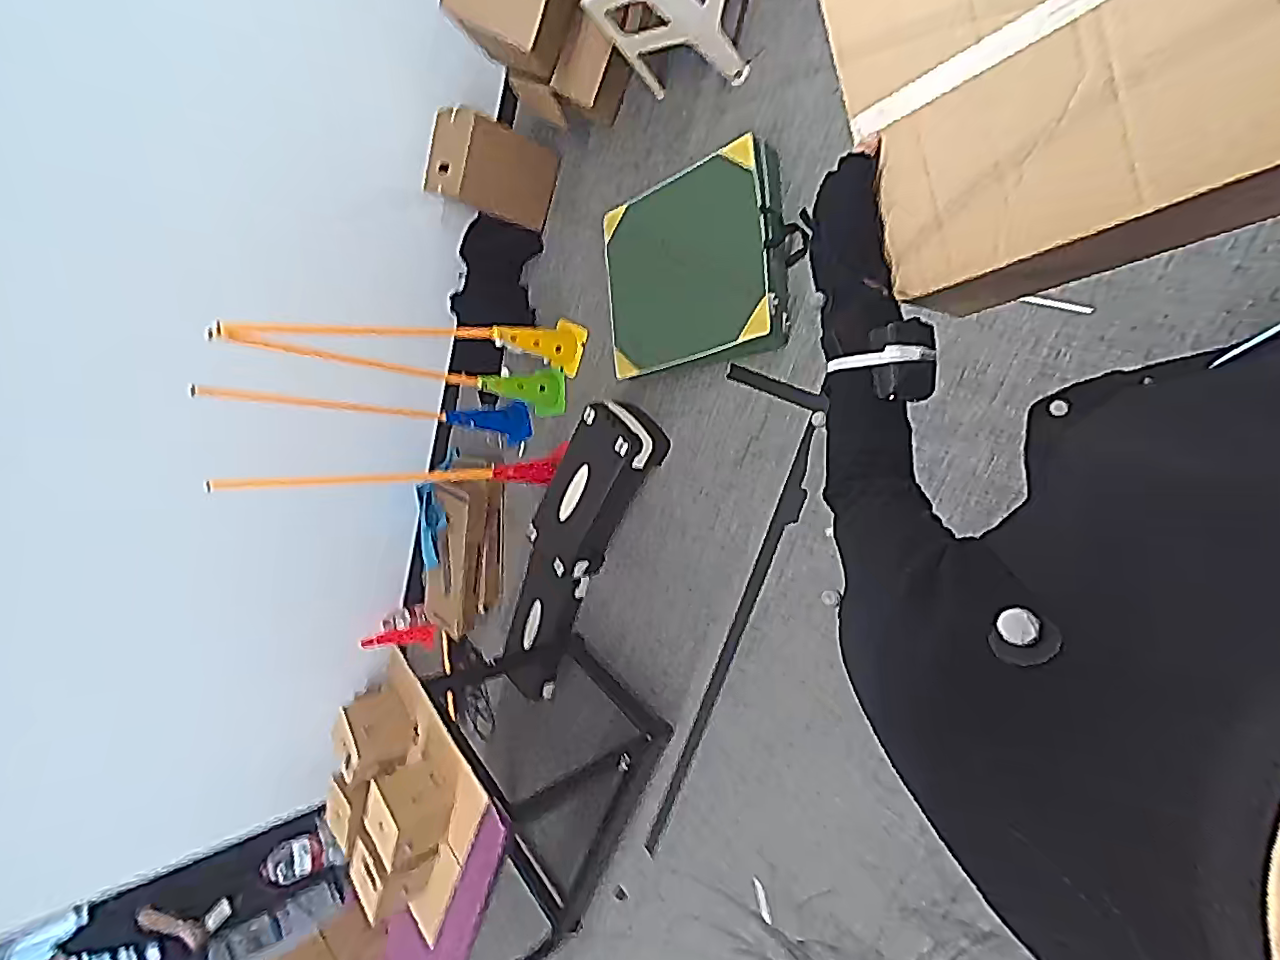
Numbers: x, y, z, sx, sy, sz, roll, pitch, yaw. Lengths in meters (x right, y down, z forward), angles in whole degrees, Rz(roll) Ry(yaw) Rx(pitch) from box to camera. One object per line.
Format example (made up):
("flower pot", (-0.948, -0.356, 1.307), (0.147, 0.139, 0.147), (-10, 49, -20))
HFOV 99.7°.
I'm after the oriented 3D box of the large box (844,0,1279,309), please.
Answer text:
("large box", (0.447, -0.377, 0.470), (0.408, 0.320, 0.320), (-12, 94, 40))
